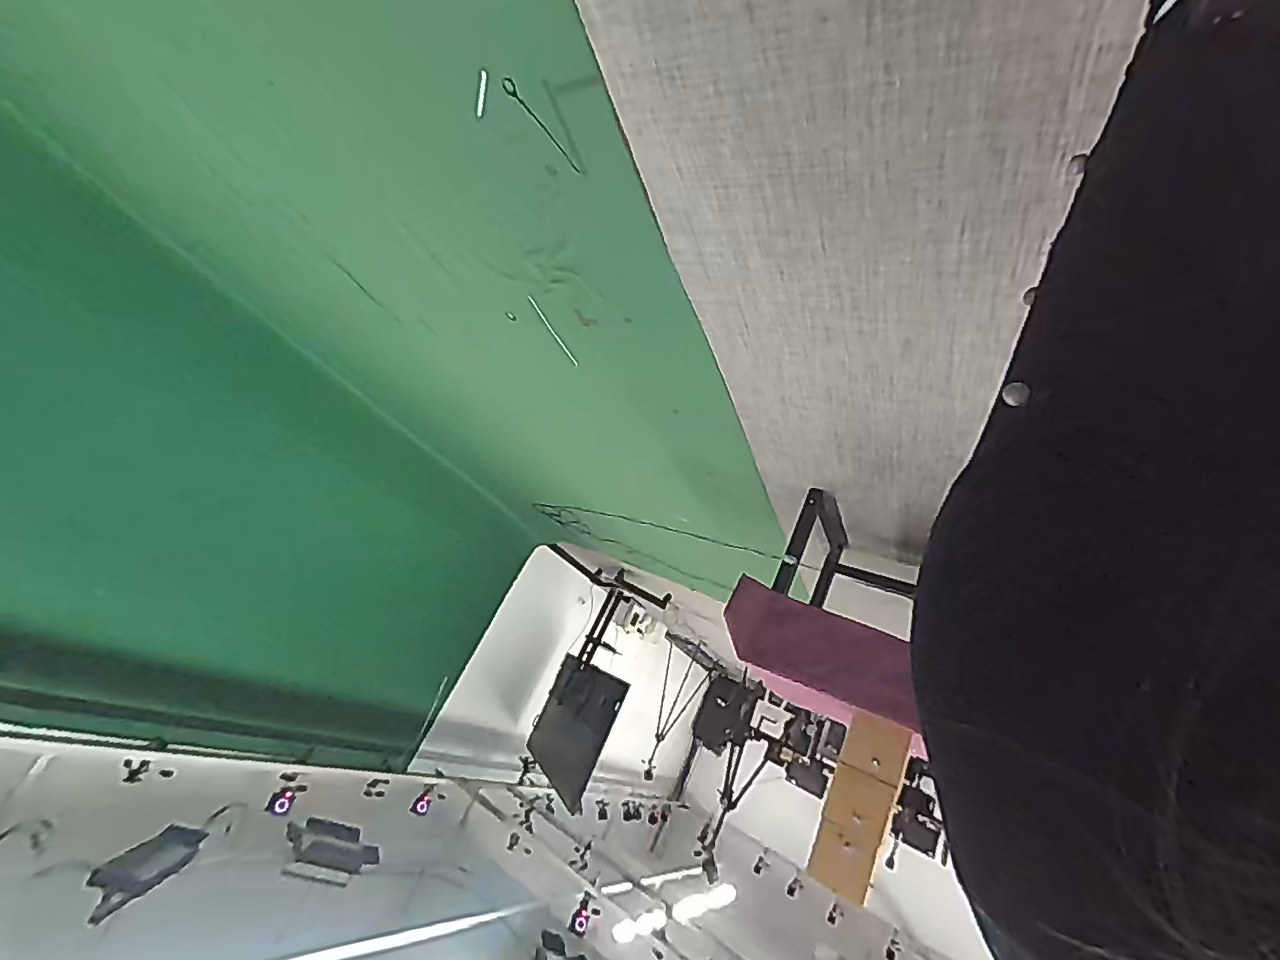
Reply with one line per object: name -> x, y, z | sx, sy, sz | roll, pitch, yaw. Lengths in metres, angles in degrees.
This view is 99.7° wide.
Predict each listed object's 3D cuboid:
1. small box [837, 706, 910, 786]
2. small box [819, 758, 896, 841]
small box -> 0.751, 0.847, 1.727 | 0.179, 0.176, 0.168 | 15, 158, 34
small box -> 0.677, 0.983, 1.677 | 0.179, 0.176, 0.168 | 13, 156, 34
